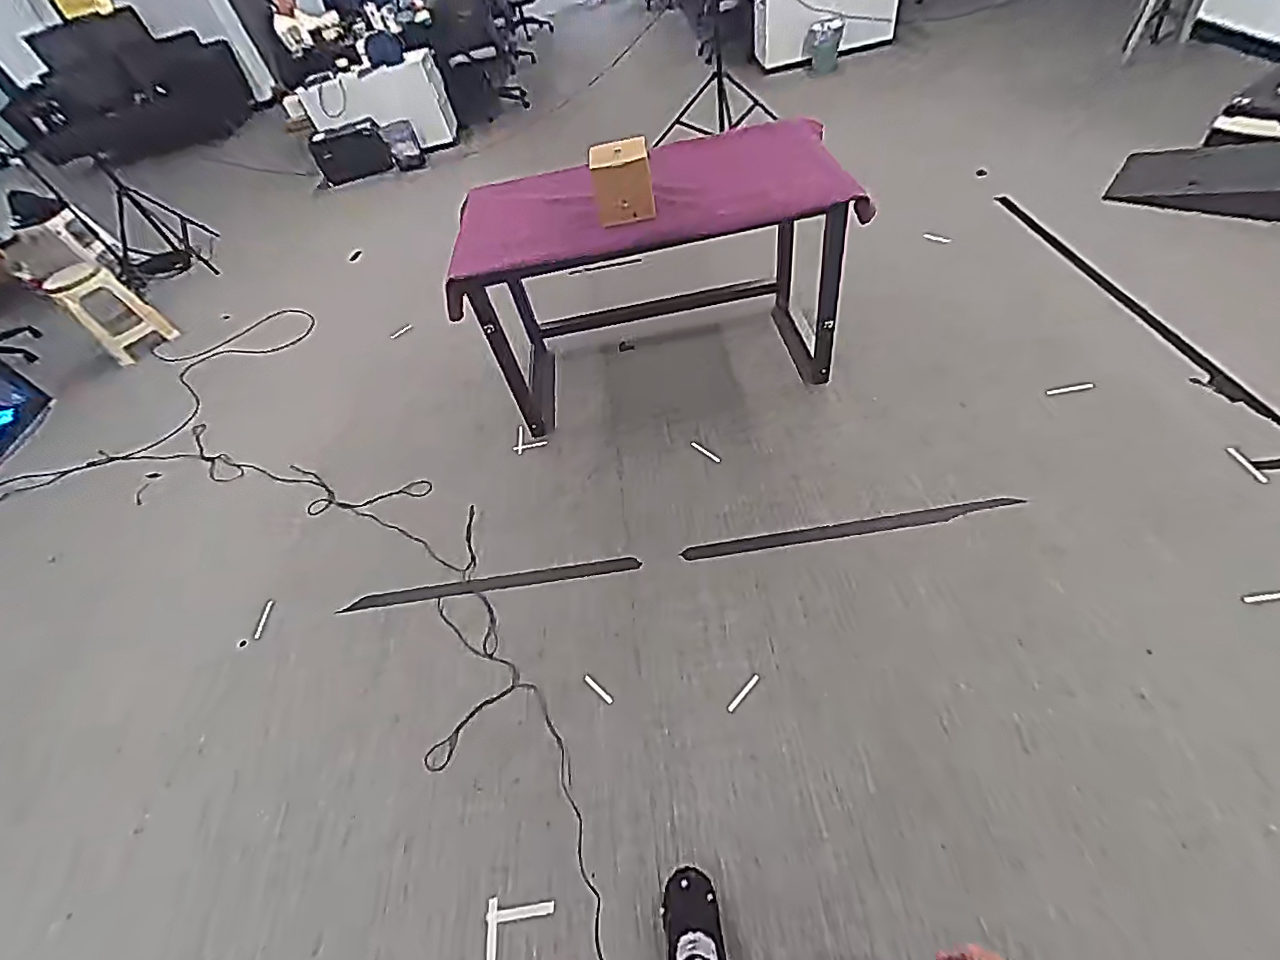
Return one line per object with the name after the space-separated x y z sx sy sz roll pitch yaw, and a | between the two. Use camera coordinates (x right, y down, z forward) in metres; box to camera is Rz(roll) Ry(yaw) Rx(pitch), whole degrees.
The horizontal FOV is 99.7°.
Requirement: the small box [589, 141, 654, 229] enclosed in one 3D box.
-0.054 -0.881 1.619 0.168 0.176 0.179 -9 49 6 | small box
